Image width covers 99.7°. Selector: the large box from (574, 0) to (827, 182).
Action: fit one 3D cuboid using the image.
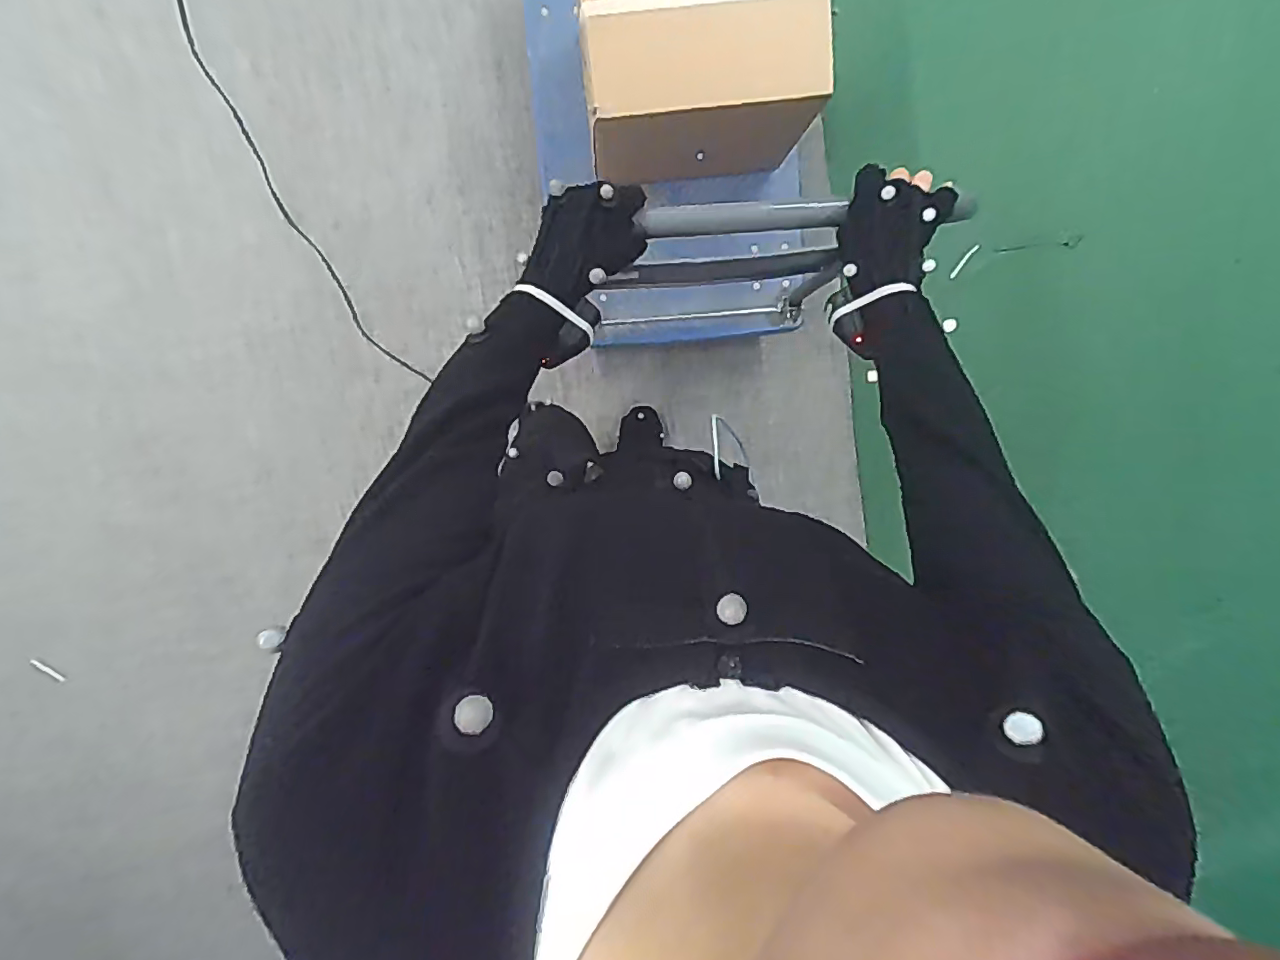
[{"bbox_3d":[0.094,-0.803,1.027,0.408,0.320,0.320,-8,99,-1],"label":"large box"}]
